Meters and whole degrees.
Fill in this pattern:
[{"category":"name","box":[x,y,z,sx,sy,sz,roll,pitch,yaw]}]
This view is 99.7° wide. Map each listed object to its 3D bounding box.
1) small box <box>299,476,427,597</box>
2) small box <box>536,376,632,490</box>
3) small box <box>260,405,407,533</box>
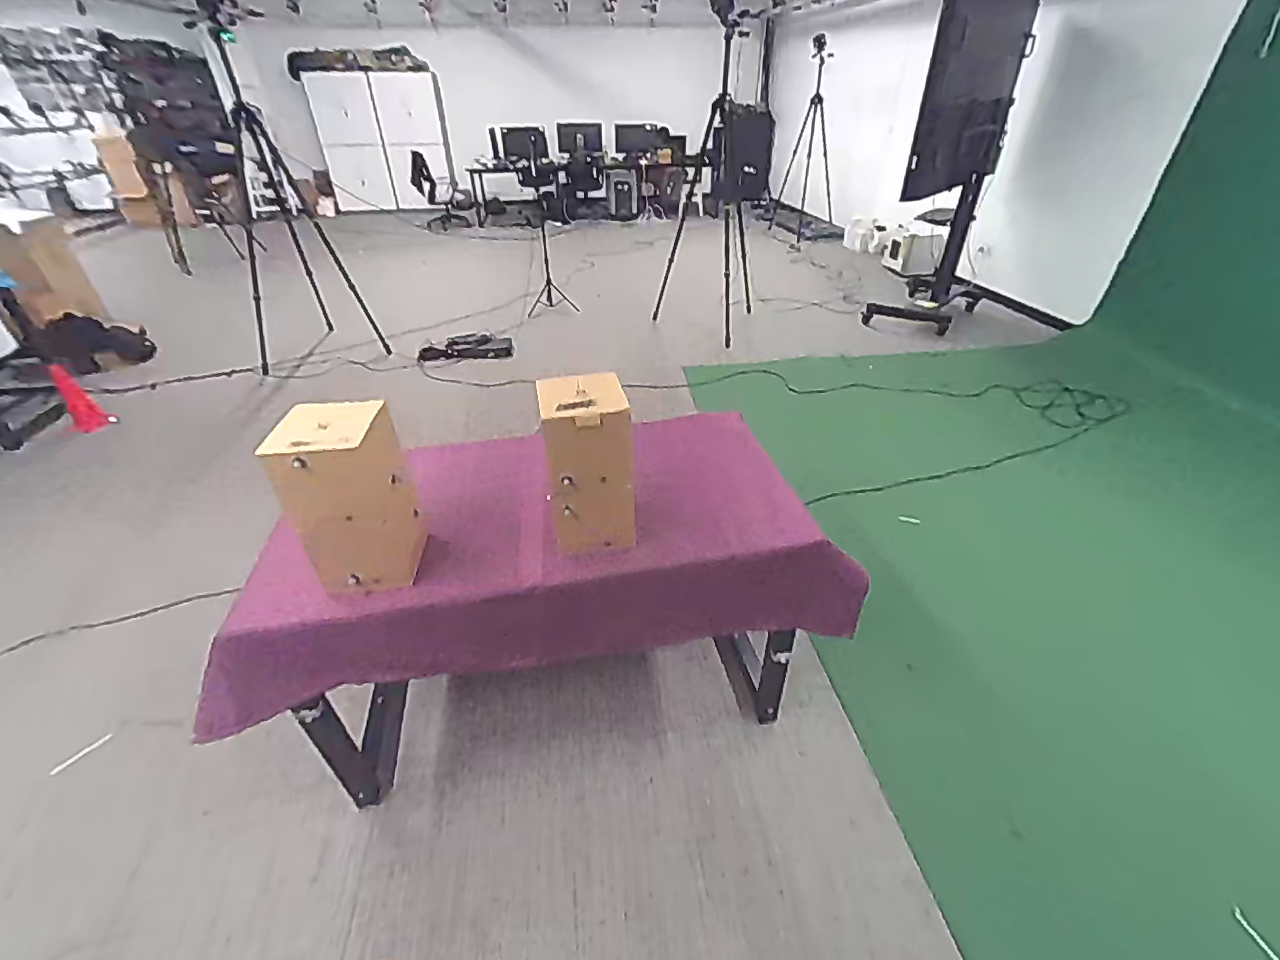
[{"category":"small box","box":[-0.546,0.113,1.097,0.168,0.176,0.179,-5,36,-4]},{"category":"small box","box":[-0.112,-0.091,1.085,0.168,0.176,0.179,-8,34,-9]},{"category":"small box","box":[-0.550,-0.023,1.003,0.168,0.176,0.179,-6,34,-4]}]
